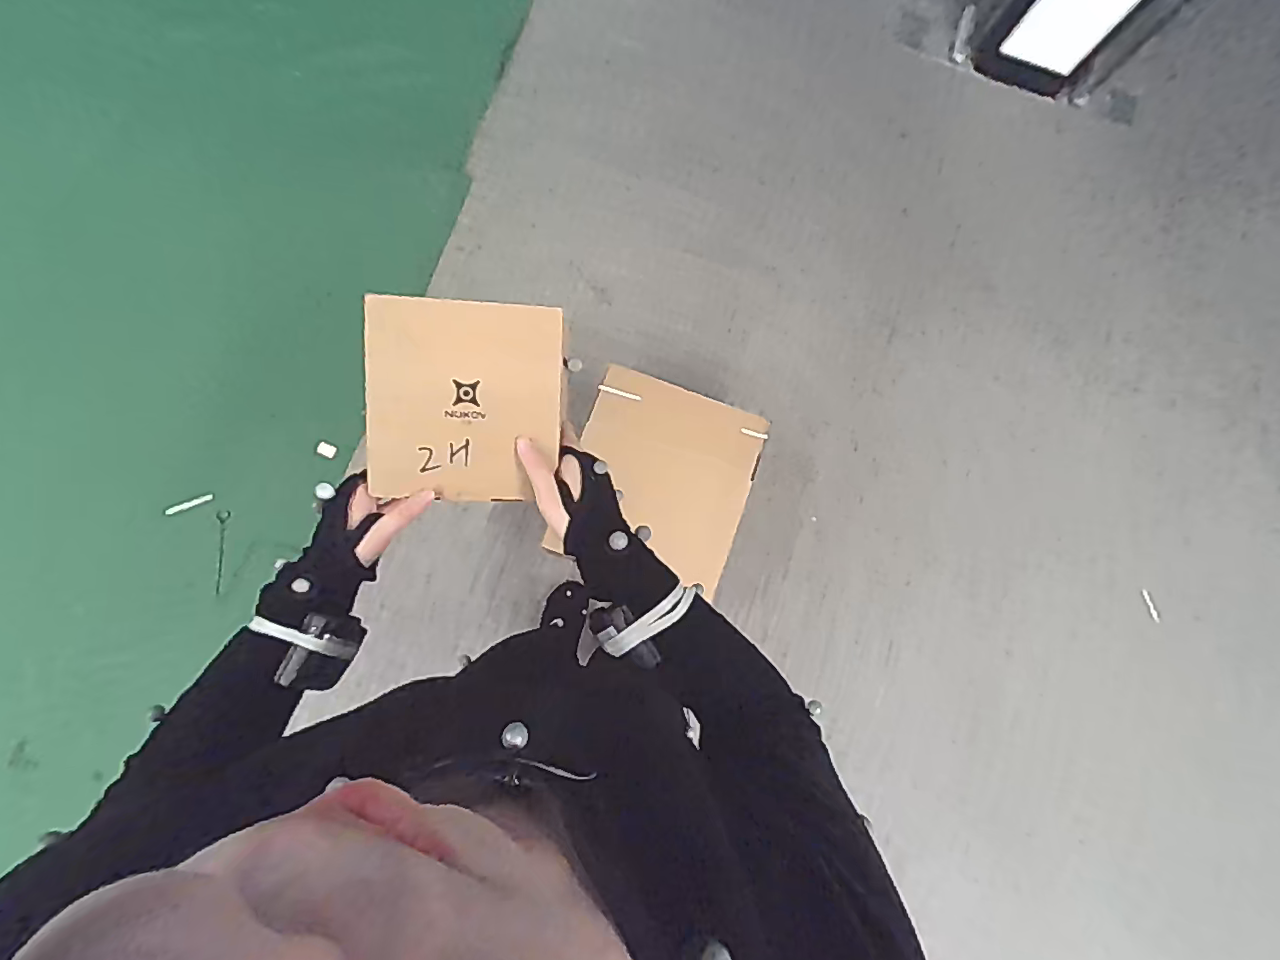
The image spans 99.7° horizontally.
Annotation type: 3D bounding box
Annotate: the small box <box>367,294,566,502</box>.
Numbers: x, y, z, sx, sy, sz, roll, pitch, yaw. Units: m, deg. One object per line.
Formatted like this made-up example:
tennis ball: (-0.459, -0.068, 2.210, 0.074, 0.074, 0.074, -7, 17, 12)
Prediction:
small box: (-0.162, -0.079, 0.552, 0.168, 0.176, 0.179, 1, 99, -7)
